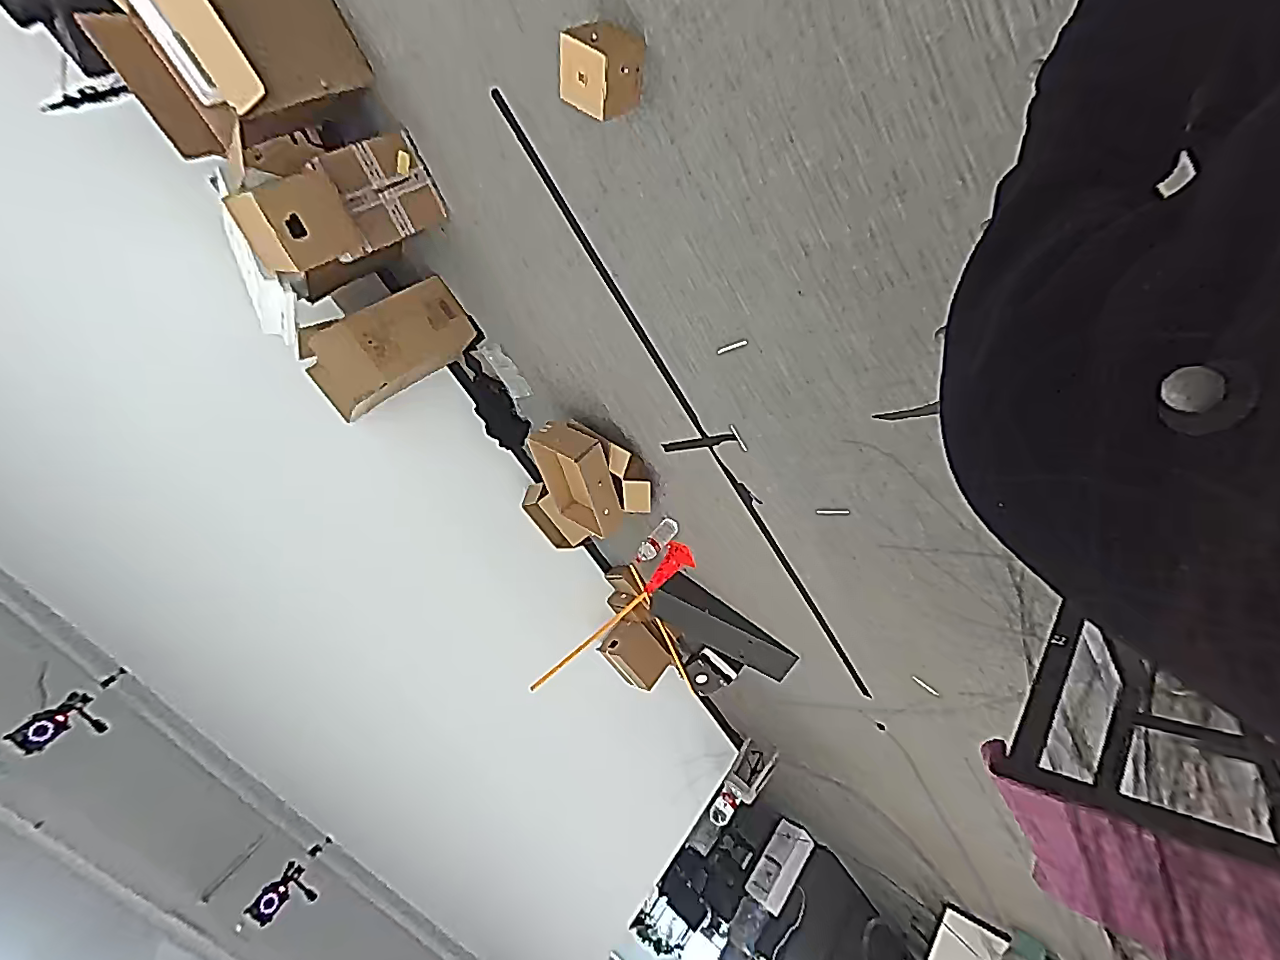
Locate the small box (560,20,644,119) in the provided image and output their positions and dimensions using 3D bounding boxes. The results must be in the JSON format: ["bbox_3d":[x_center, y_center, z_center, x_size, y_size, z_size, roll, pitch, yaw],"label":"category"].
[{"bbox_3d":[-0.110,-1.189,1.561,0.179,0.176,0.168,39,150,16],"label":"small box"}]
